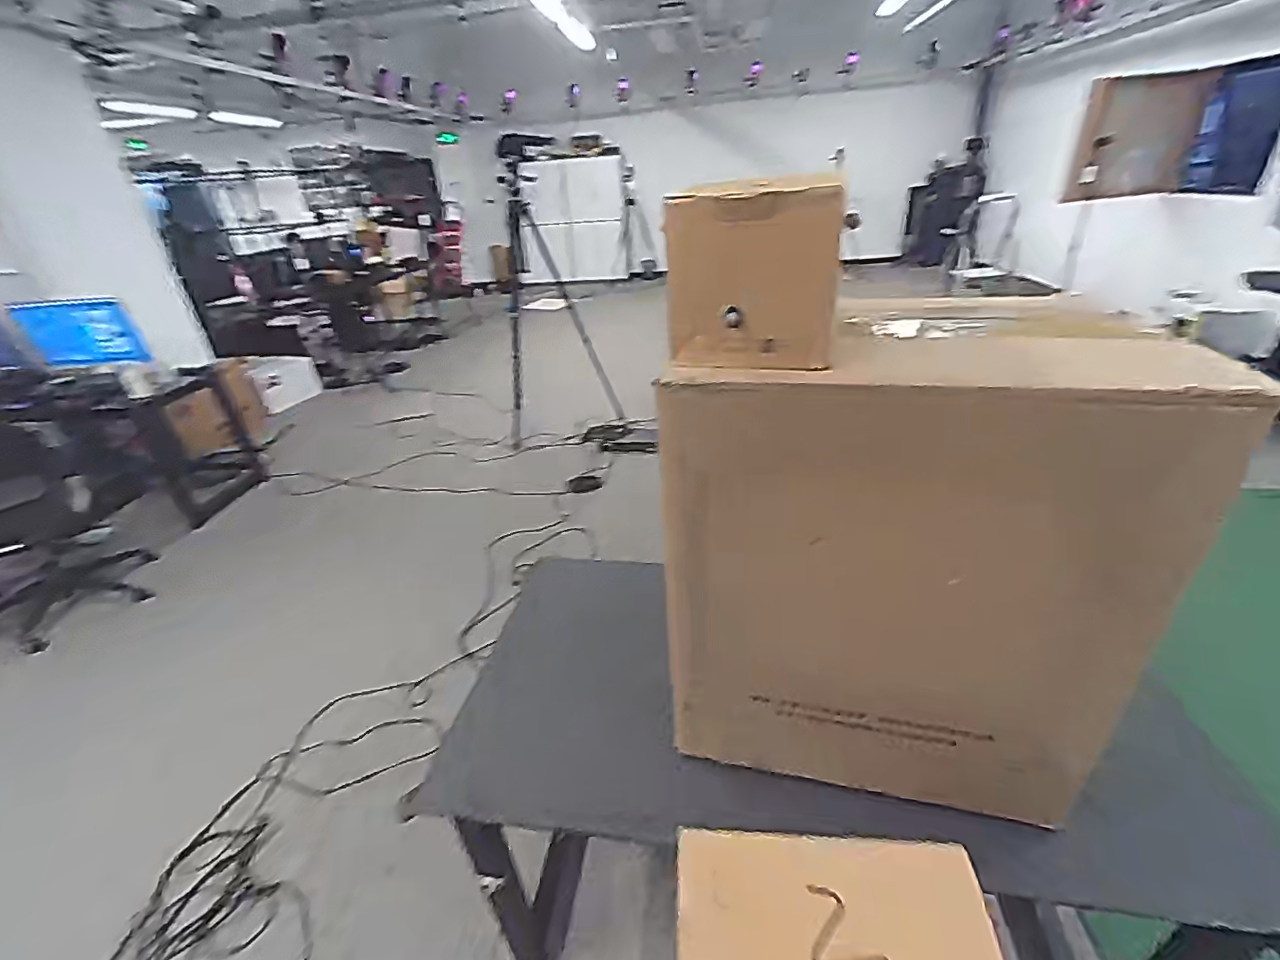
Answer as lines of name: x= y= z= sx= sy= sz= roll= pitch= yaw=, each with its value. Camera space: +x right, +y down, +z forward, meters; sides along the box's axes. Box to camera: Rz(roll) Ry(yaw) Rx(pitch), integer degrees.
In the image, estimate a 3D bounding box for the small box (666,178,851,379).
small box: x=0.130 y=-0.222 z=0.585 sx=0.168 sy=0.176 sz=0.179 roll=6 pitch=34 yaw=17
